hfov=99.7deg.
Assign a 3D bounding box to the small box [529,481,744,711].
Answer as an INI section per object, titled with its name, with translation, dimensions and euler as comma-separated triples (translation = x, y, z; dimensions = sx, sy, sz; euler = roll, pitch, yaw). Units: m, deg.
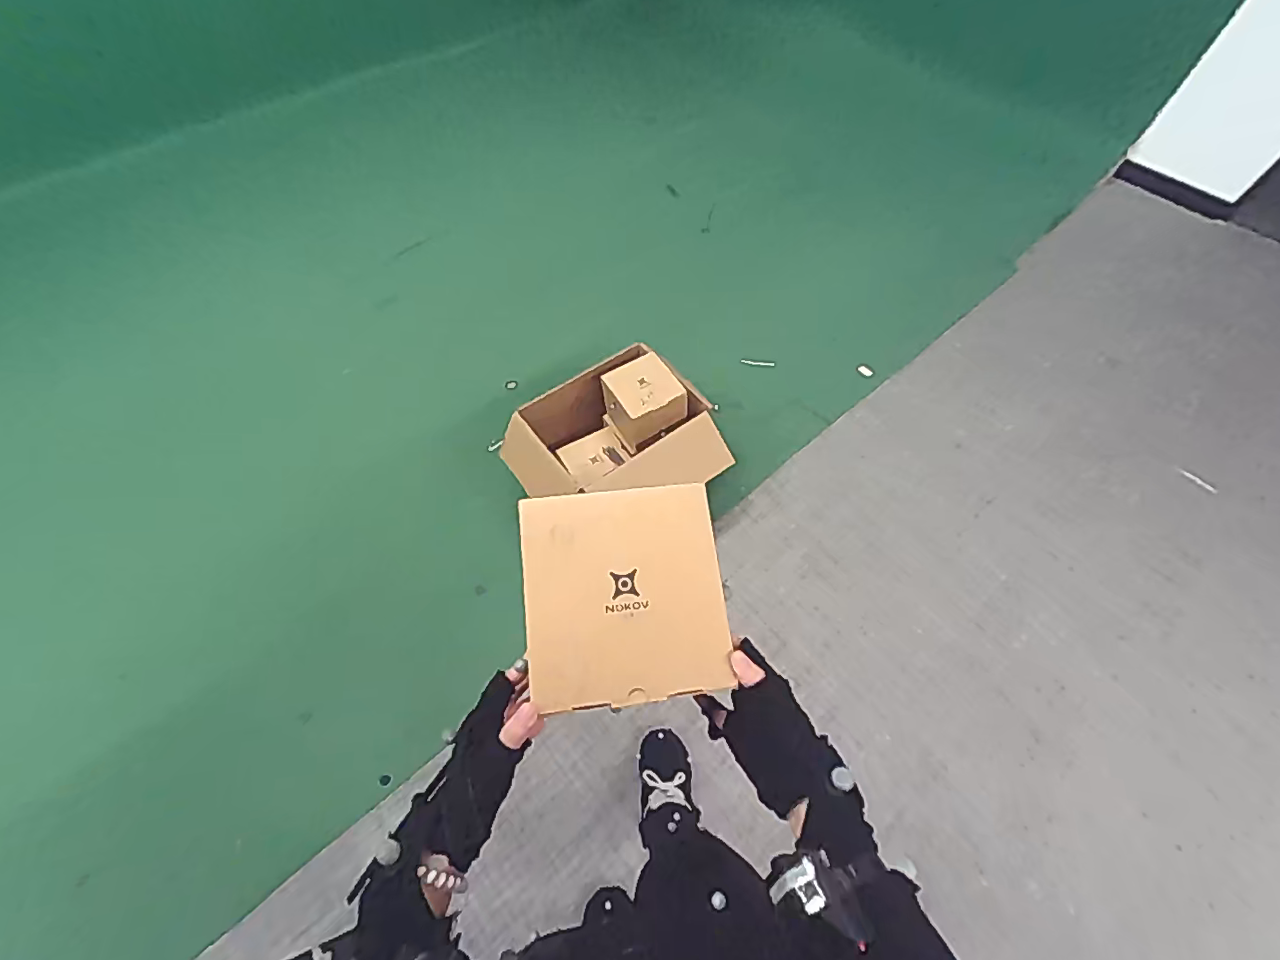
[small box]
translation = -0.017, 0.113, 0.523
dimensions = 0.168, 0.176, 0.179
euler = -5, 73, -9
